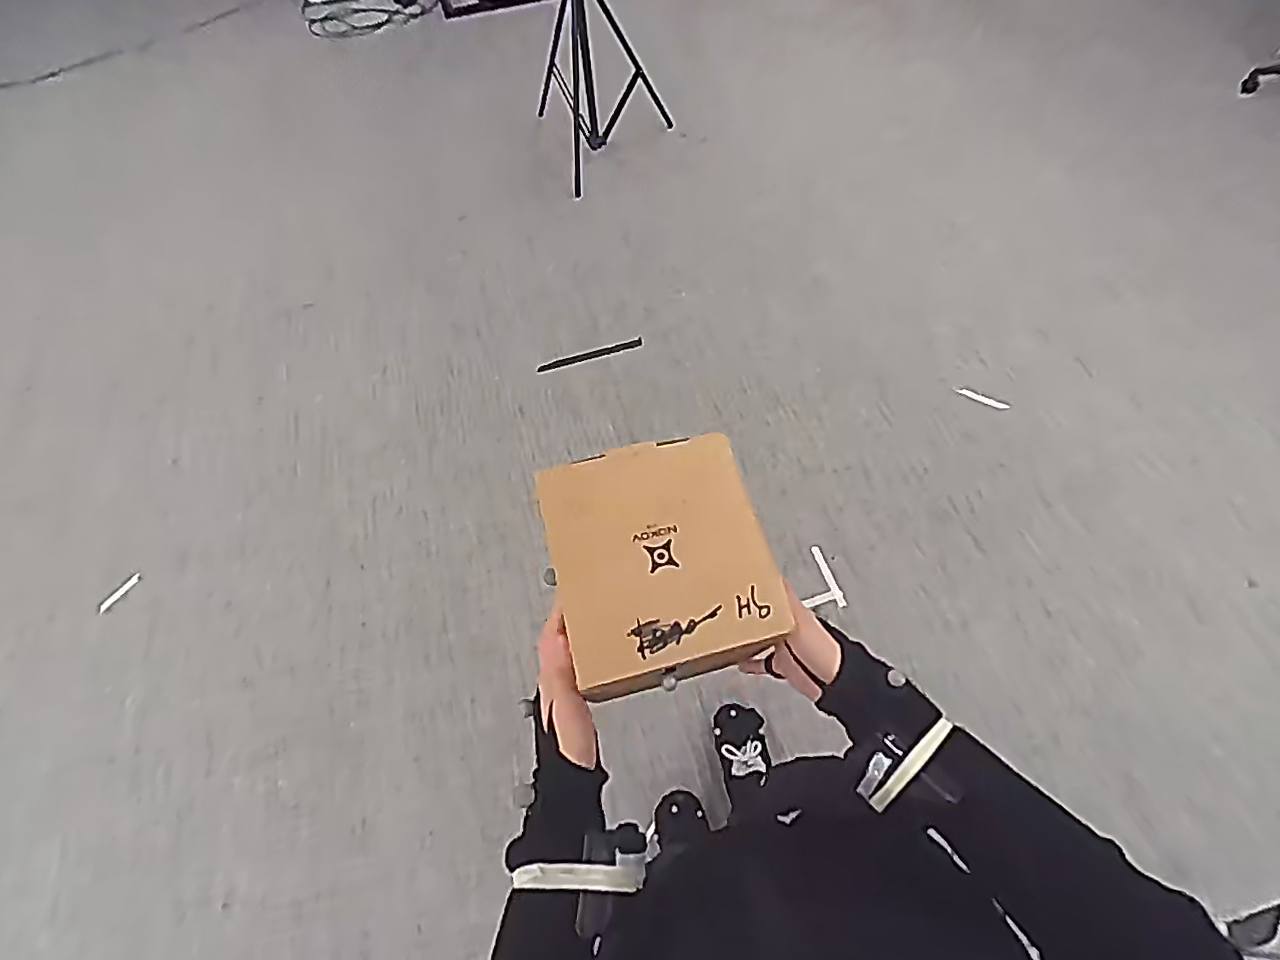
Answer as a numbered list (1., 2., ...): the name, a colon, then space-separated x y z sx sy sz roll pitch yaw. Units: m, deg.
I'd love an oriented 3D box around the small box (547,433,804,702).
1. small box: 0.017 0.086 0.488 0.168 0.176 0.179 -13 65 -8
